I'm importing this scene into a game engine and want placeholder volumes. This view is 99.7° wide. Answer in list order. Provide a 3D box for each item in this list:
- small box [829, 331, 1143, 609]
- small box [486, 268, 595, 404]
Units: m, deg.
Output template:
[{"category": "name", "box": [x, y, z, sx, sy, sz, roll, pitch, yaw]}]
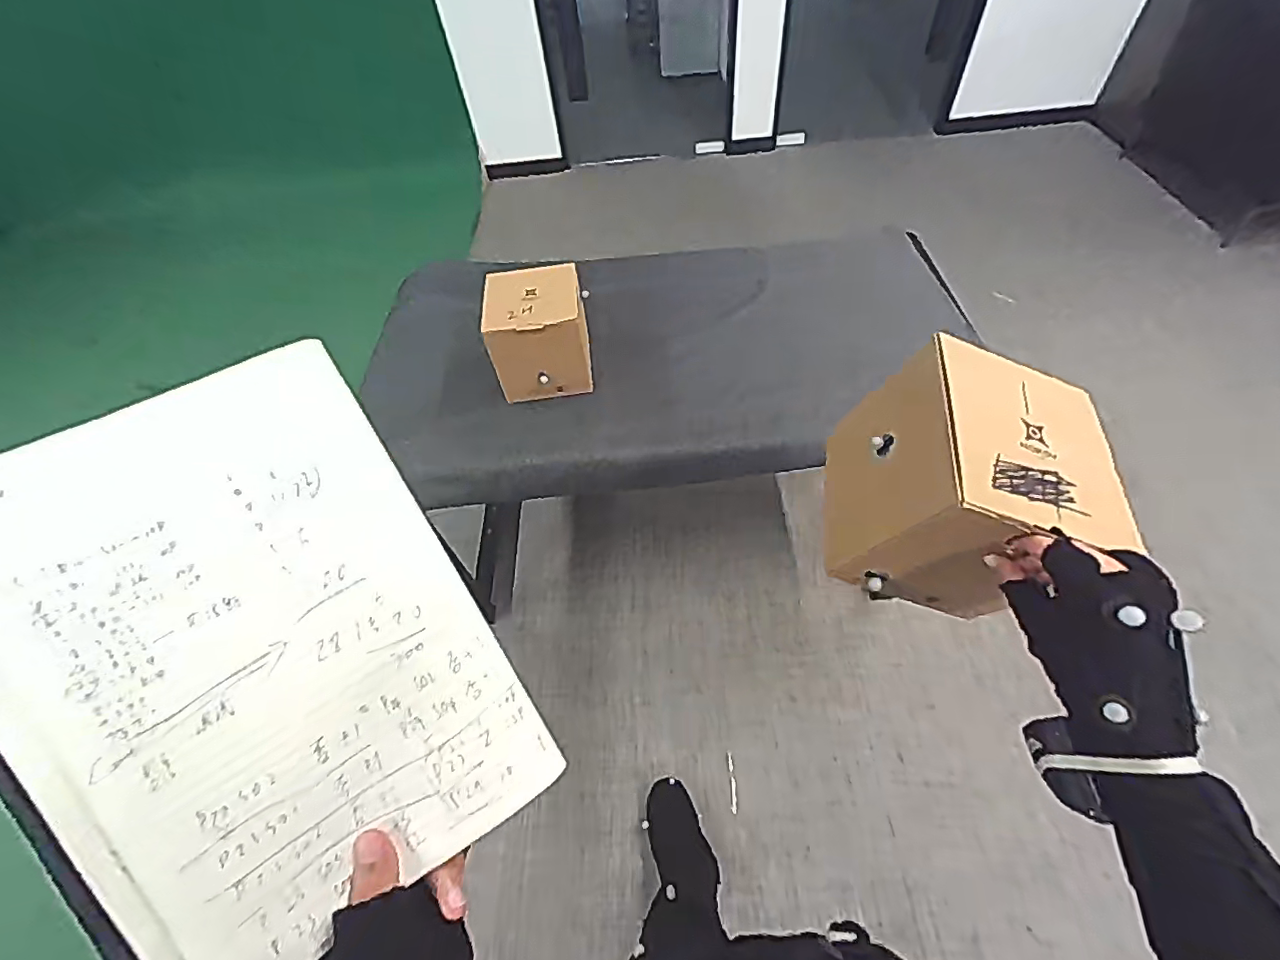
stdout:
[{"category": "small box", "box": [0.295, 0.002, 0.506, 0.168, 0.176, 0.179, 19, 57, -9]}, {"category": "small box", "box": [-0.179, -0.267, 1.013, 0.168, 0.176, 0.179, -8, 53, 0]}]
